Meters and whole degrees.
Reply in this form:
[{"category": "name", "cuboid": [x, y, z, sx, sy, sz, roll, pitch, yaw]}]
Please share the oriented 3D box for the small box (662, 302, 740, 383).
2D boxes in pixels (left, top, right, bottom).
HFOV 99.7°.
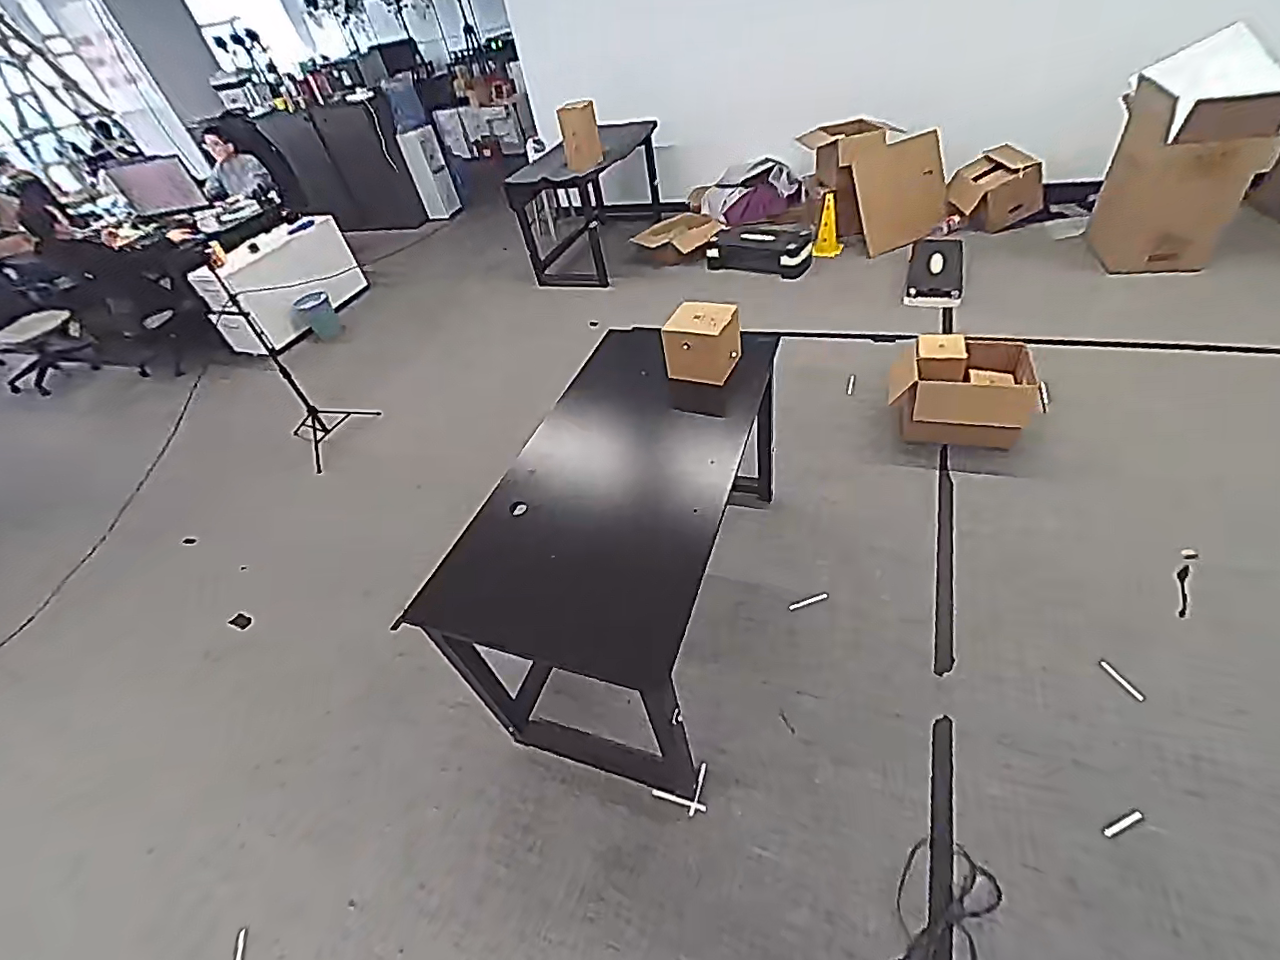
[{"category": "small box", "cuboid": [0.186, -0.405, 1.596, 0.179, 0.176, 0.168, 14, 51, 26]}]
